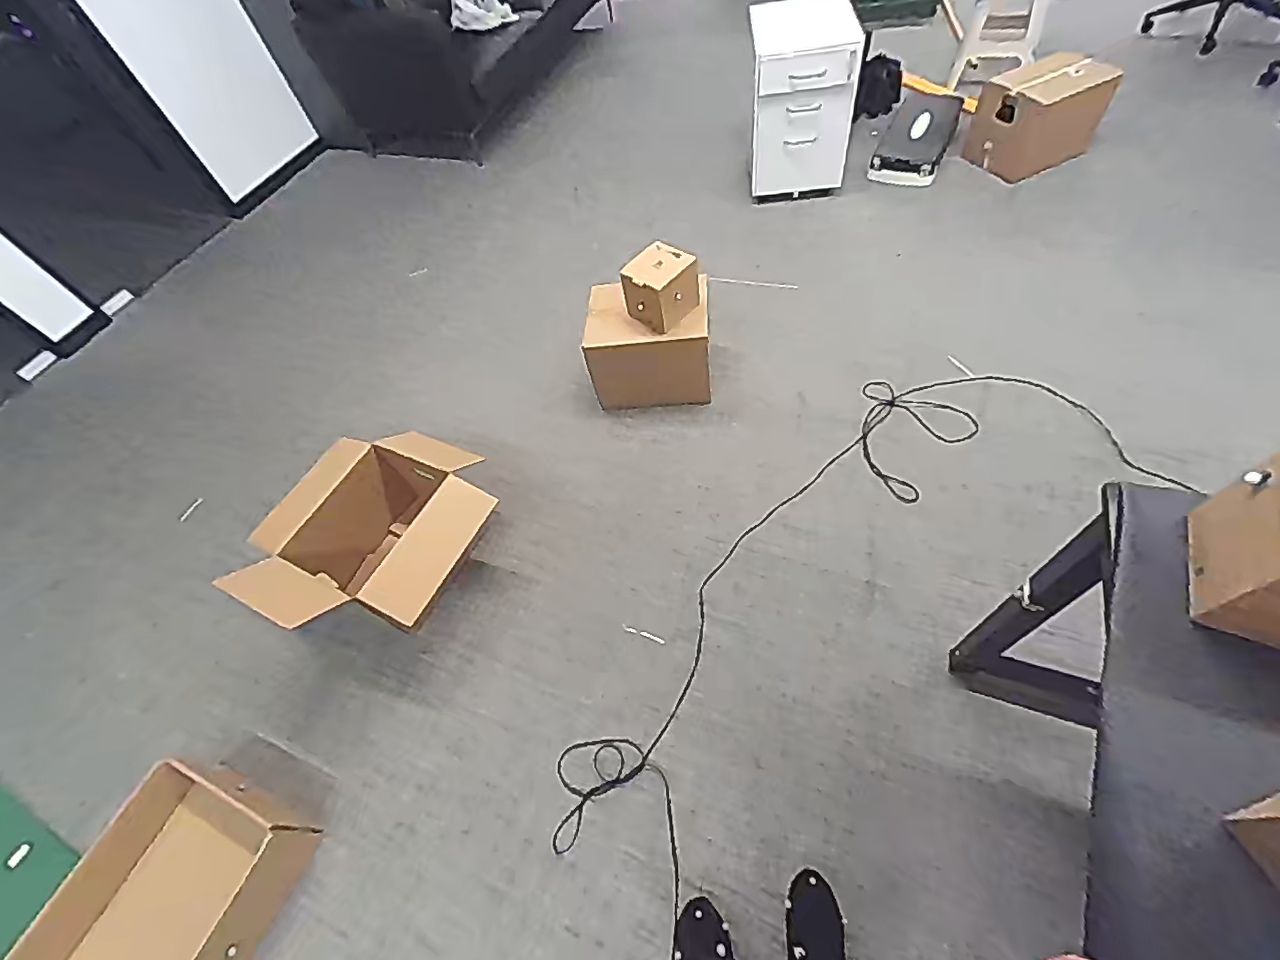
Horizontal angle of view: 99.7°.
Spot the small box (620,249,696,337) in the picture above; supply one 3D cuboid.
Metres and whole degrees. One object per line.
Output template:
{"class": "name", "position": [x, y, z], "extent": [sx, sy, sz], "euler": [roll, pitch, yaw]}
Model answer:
{"class": "small box", "position": [0.065, -0.584, 1.703], "extent": [0.168, 0.176, 0.179], "euler": [35, 70, 28]}

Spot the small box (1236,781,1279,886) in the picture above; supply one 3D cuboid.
{"class": "small box", "position": [0.683, 0.333, 0.451], "extent": [0.179, 0.176, 0.168], "euler": [-20, 56, -5]}
